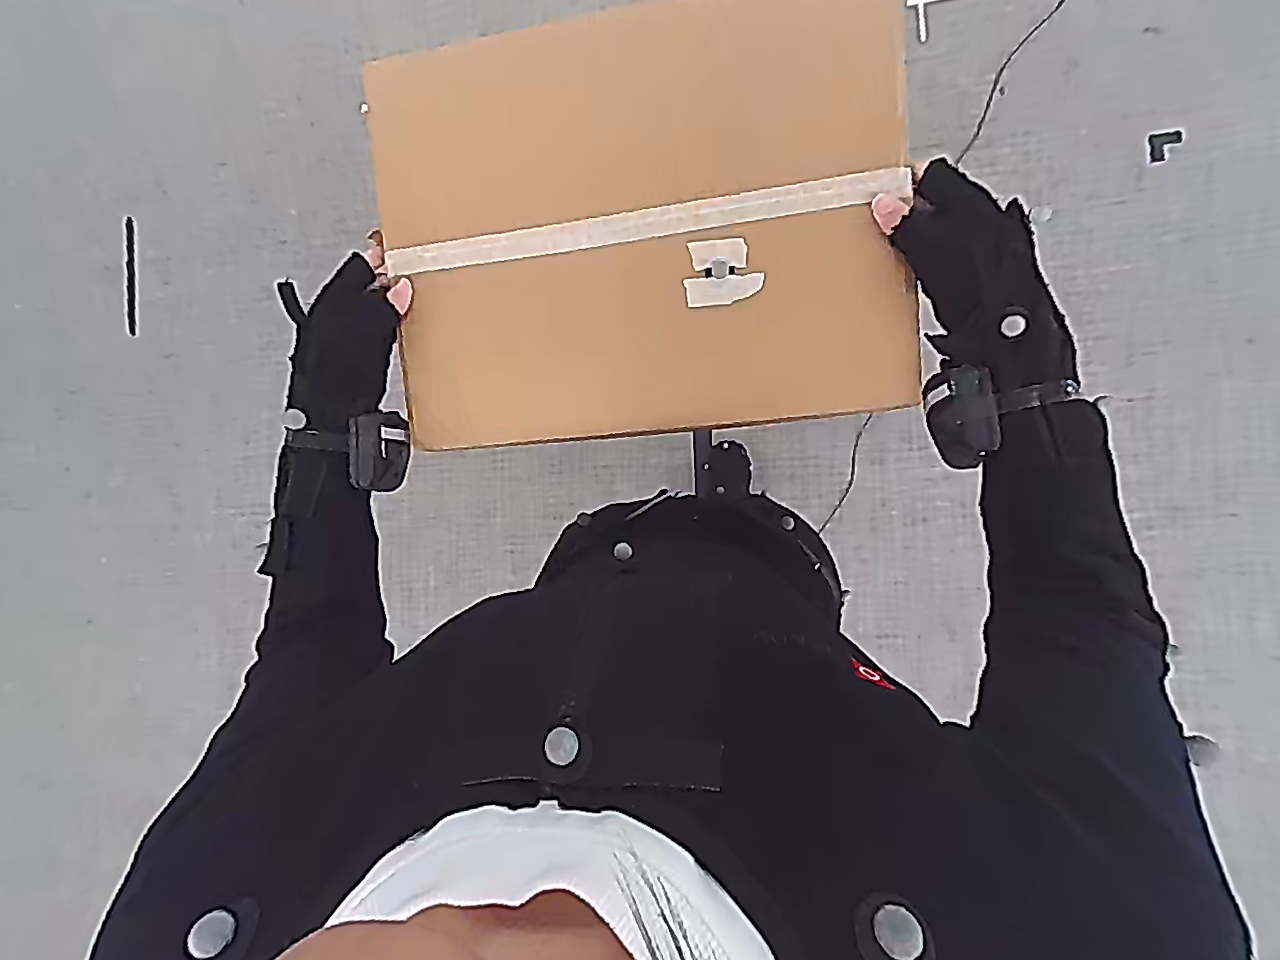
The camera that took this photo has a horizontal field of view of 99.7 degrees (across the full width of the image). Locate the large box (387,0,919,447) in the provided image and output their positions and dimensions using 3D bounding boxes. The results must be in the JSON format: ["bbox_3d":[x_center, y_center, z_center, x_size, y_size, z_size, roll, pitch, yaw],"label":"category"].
[{"bbox_3d":[0.020,-0.214,0.574,0.408,0.320,0.320,-5,95,9],"label":"large box"}]
